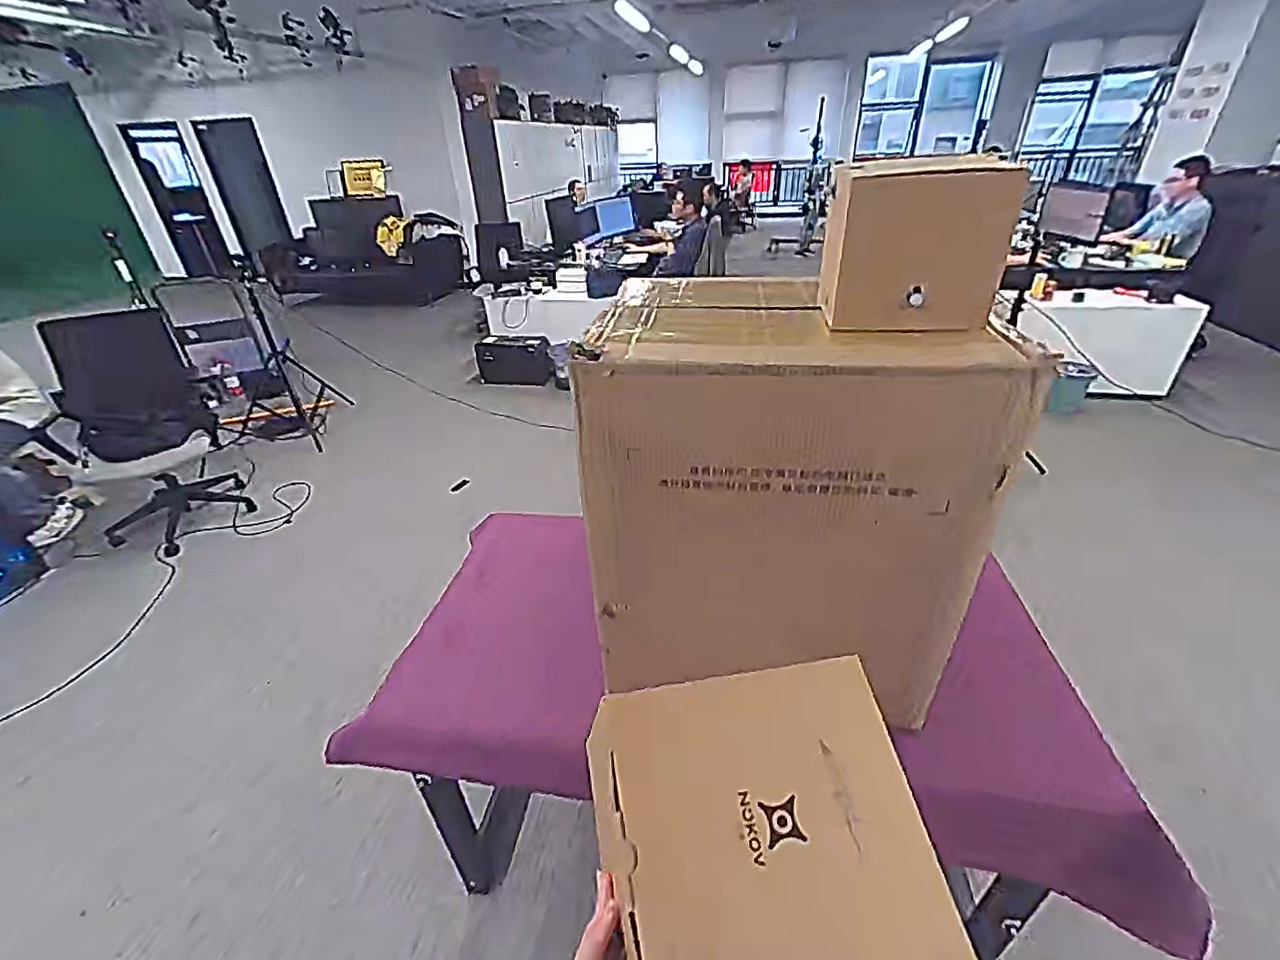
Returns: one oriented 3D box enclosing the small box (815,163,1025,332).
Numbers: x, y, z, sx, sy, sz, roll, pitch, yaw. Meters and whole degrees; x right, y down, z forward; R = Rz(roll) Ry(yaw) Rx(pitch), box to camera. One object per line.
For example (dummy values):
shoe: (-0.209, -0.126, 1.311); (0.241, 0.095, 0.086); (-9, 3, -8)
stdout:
small box: (0.325, -0.288, 0.671); (0.179, 0.176, 0.168); (3, 33, 10)
